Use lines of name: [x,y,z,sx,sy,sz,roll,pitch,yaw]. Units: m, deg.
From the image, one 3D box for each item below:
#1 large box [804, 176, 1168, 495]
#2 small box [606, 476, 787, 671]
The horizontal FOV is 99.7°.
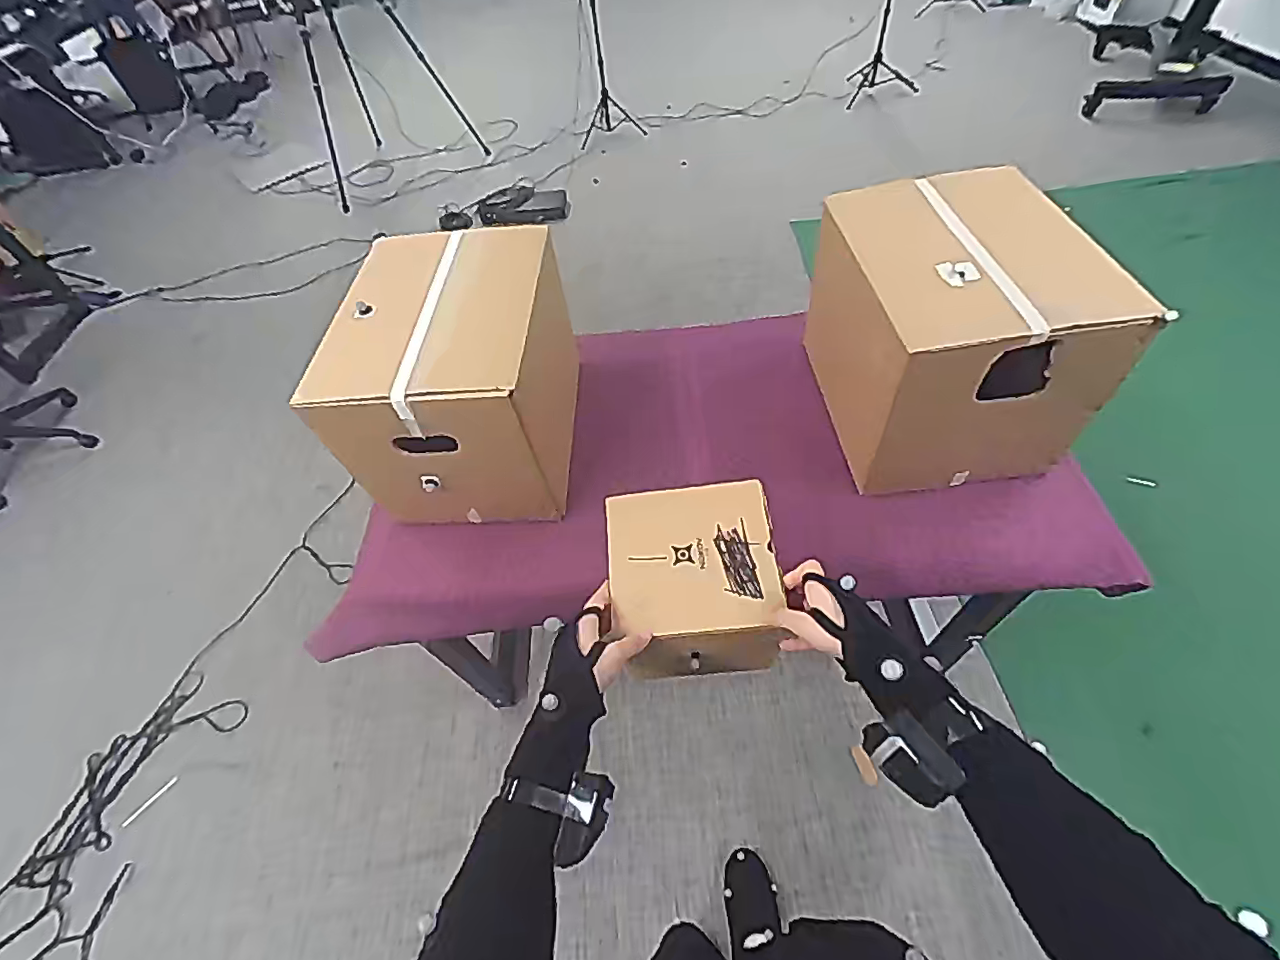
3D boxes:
large box: [0.489,-0.235,0.895,0.320,0.320,0.408,-8,53,4]
small box: [0.059,0.114,0.628,0.179,0.176,0.168,-6,56,4]
